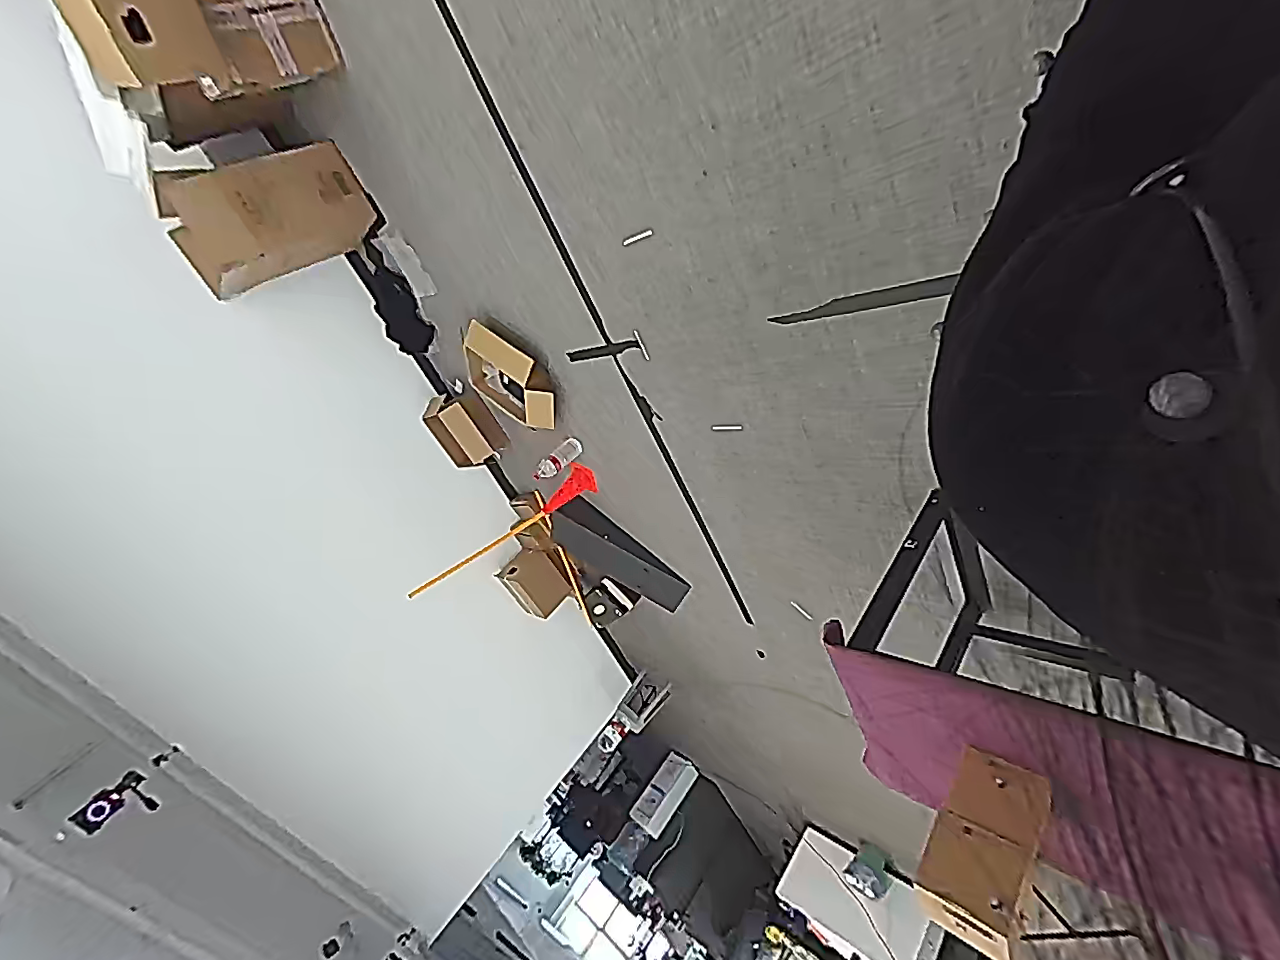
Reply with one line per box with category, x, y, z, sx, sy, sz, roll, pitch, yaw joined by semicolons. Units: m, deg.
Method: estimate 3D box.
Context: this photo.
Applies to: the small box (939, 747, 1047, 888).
small box;0.786;0.740;1.200;0.168;0.176;0.179;10;134;44
